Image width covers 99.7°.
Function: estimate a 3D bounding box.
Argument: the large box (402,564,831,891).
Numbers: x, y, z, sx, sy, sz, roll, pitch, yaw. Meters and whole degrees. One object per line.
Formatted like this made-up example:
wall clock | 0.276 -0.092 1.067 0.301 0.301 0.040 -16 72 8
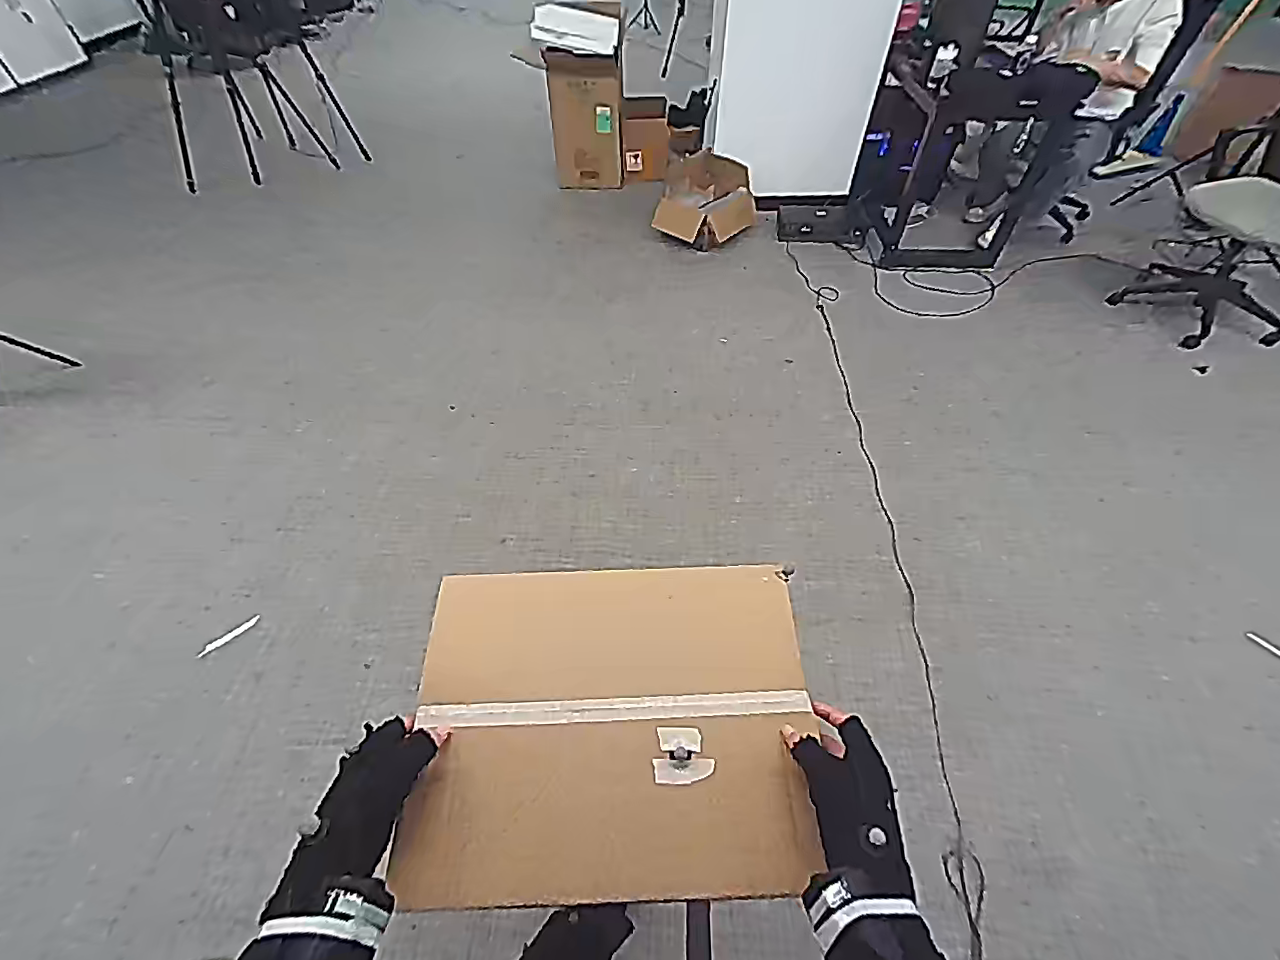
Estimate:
large box | -0.027 0.323 0.699 0.408 0.320 0.320 -2 55 -1
